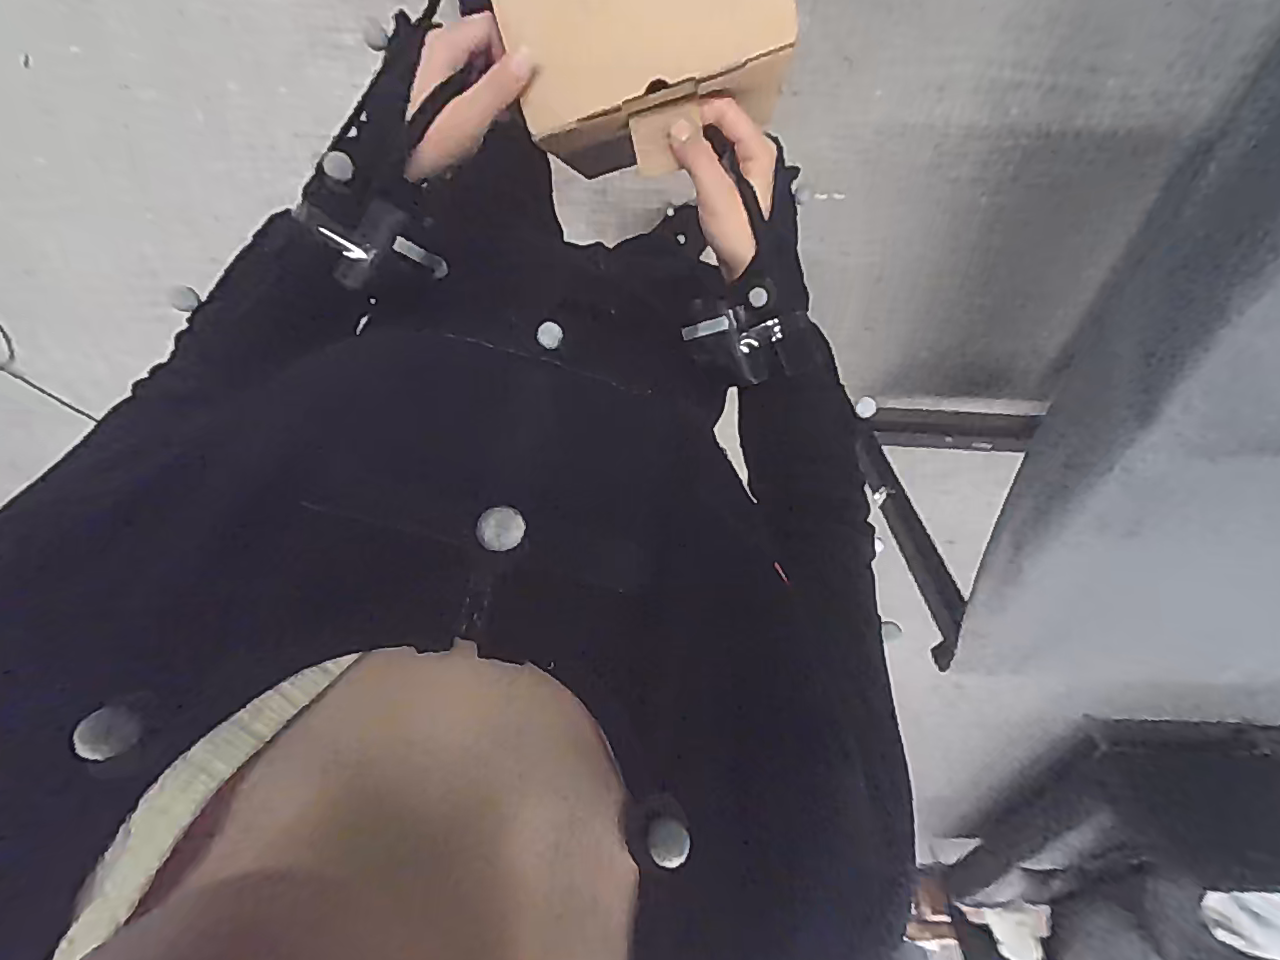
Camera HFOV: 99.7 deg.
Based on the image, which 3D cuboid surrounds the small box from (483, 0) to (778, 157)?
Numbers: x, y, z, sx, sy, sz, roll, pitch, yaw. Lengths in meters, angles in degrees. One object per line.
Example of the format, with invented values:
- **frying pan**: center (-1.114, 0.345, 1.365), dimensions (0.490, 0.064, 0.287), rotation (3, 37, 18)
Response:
- **small box**: center (-0.008, -0.342, 0.367), dimensions (0.168, 0.176, 0.179), rotation (-11, 109, 12)
